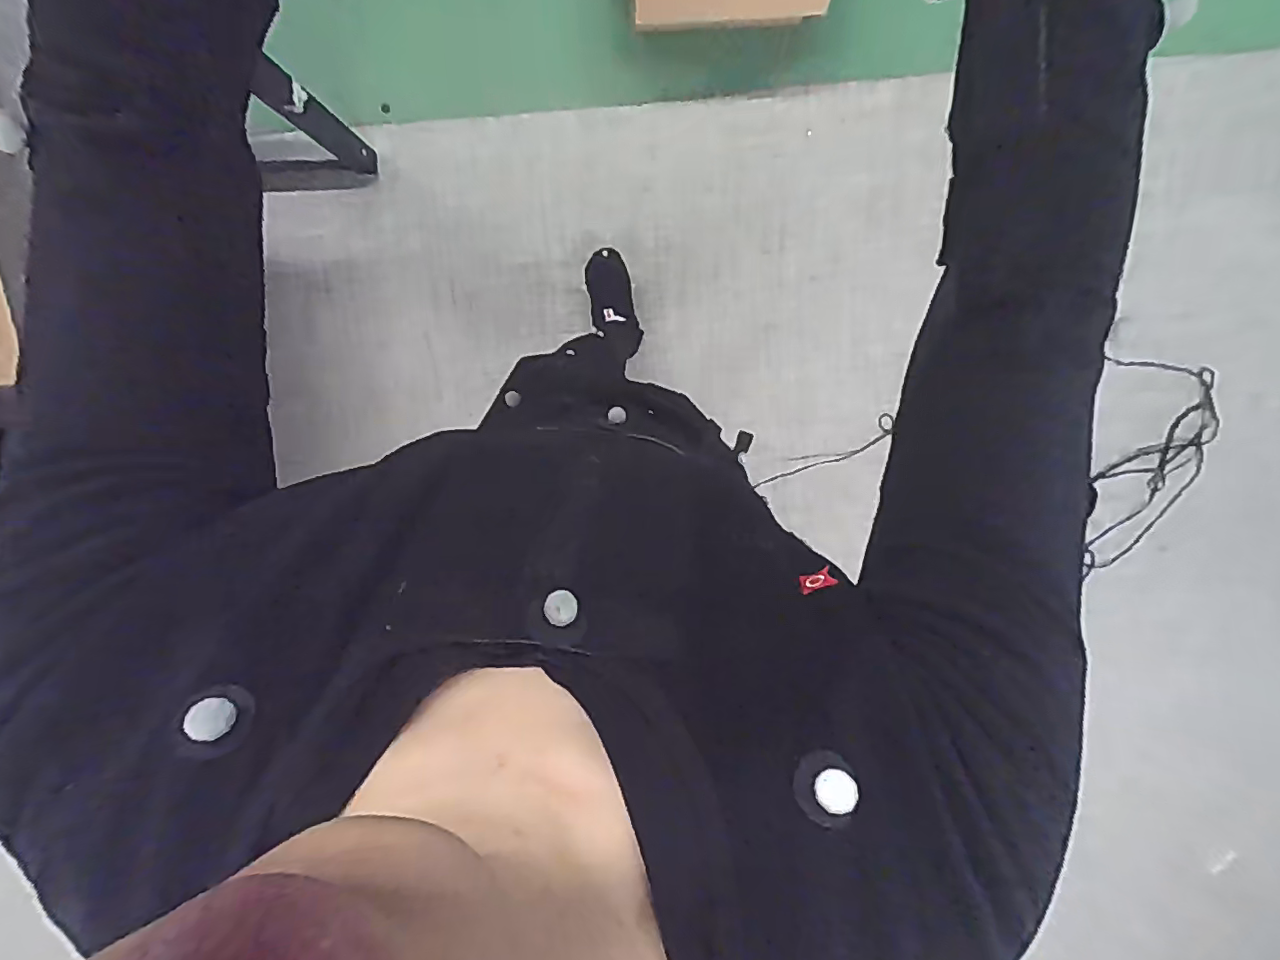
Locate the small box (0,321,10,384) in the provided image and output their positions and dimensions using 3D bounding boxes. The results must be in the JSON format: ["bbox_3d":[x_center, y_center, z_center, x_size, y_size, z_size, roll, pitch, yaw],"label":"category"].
[{"bbox_3d":[-0.866,-0.180,0.590,0.179,0.176,0.168,-5,100,1],"label":"small box"}]
